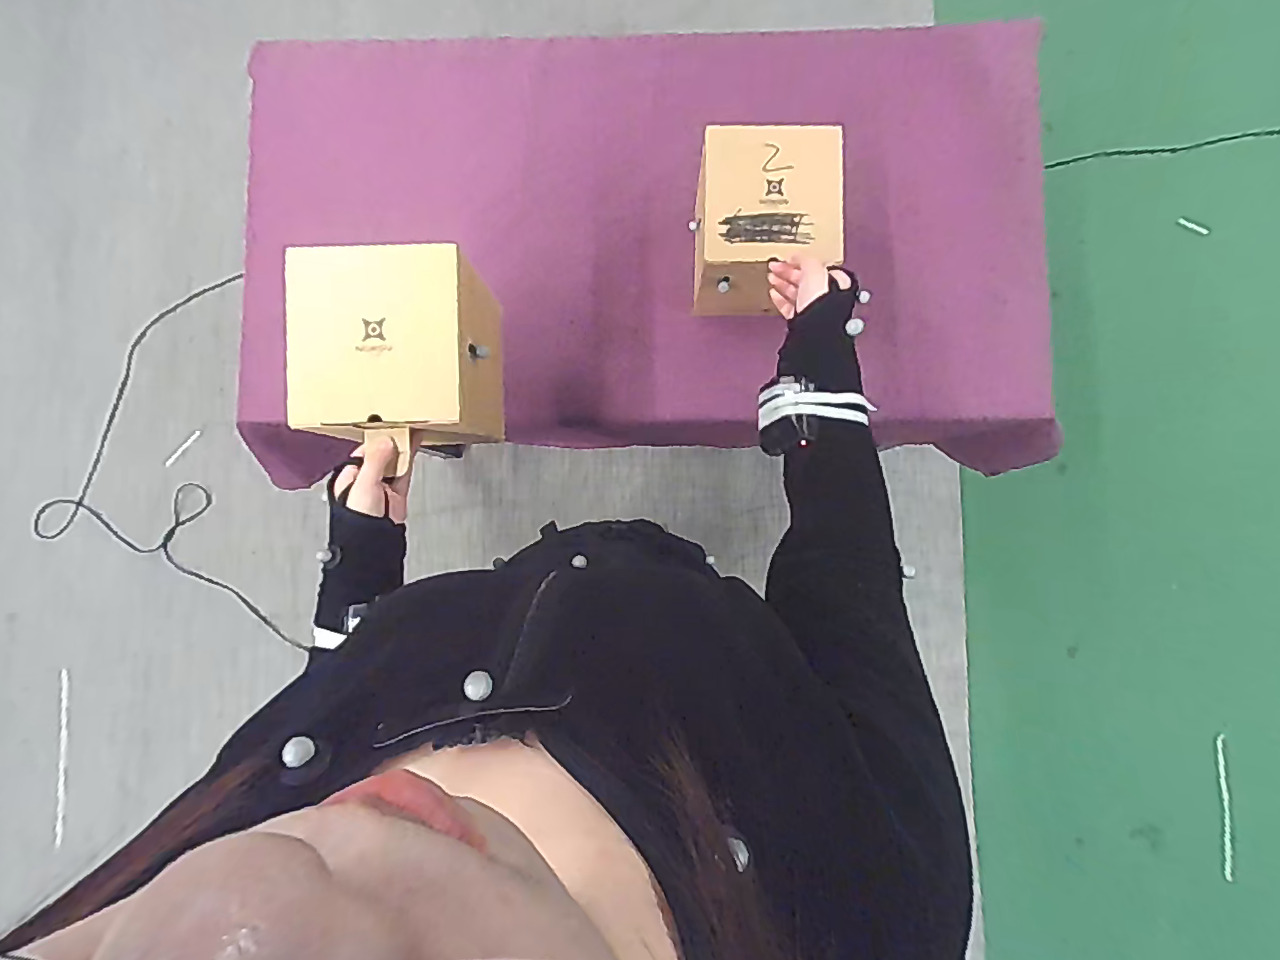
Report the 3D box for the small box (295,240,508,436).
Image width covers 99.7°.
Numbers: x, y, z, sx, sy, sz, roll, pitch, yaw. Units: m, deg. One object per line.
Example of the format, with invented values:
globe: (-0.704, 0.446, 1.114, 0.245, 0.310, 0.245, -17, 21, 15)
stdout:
small box: (-0.254, -0.147, 0.613, 0.168, 0.176, 0.179, -4, 91, 1)
